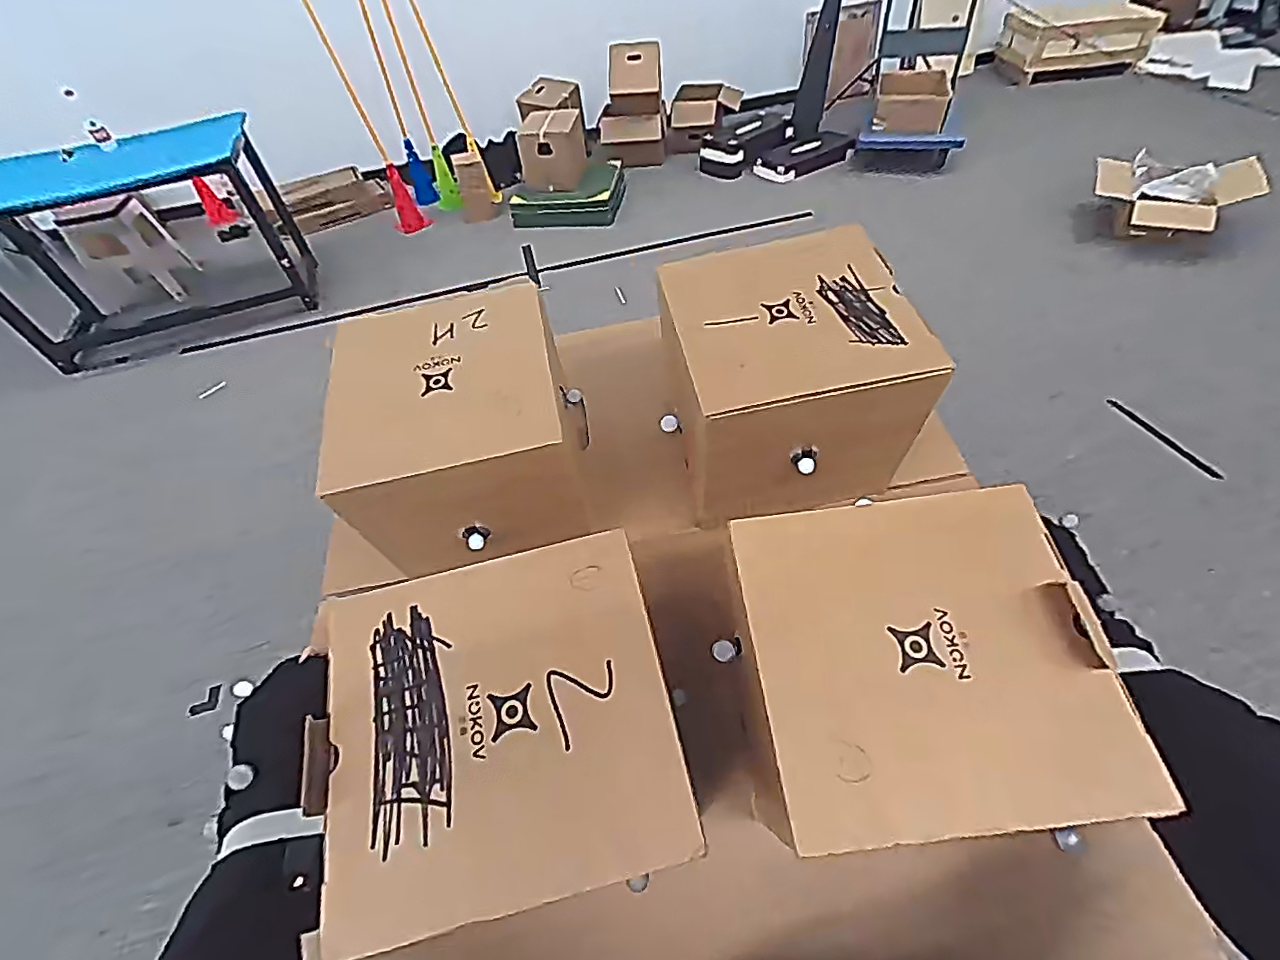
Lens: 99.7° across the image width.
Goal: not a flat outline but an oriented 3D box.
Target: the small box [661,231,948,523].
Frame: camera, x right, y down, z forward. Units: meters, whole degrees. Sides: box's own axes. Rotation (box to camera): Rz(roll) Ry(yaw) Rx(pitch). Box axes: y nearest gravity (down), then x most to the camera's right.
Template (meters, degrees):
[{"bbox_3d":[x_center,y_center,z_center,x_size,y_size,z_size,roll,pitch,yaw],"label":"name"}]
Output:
[{"bbox_3d":[0.120,-0.081,0.472,0.179,0.176,0.168,-11,58,0],"label":"small box"}]

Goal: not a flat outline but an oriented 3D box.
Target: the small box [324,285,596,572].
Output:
[{"bbox_3d":[-0.139,-0.033,0.471,0.168,0.176,0.179,-12,57,-2],"label":"small box"}]
